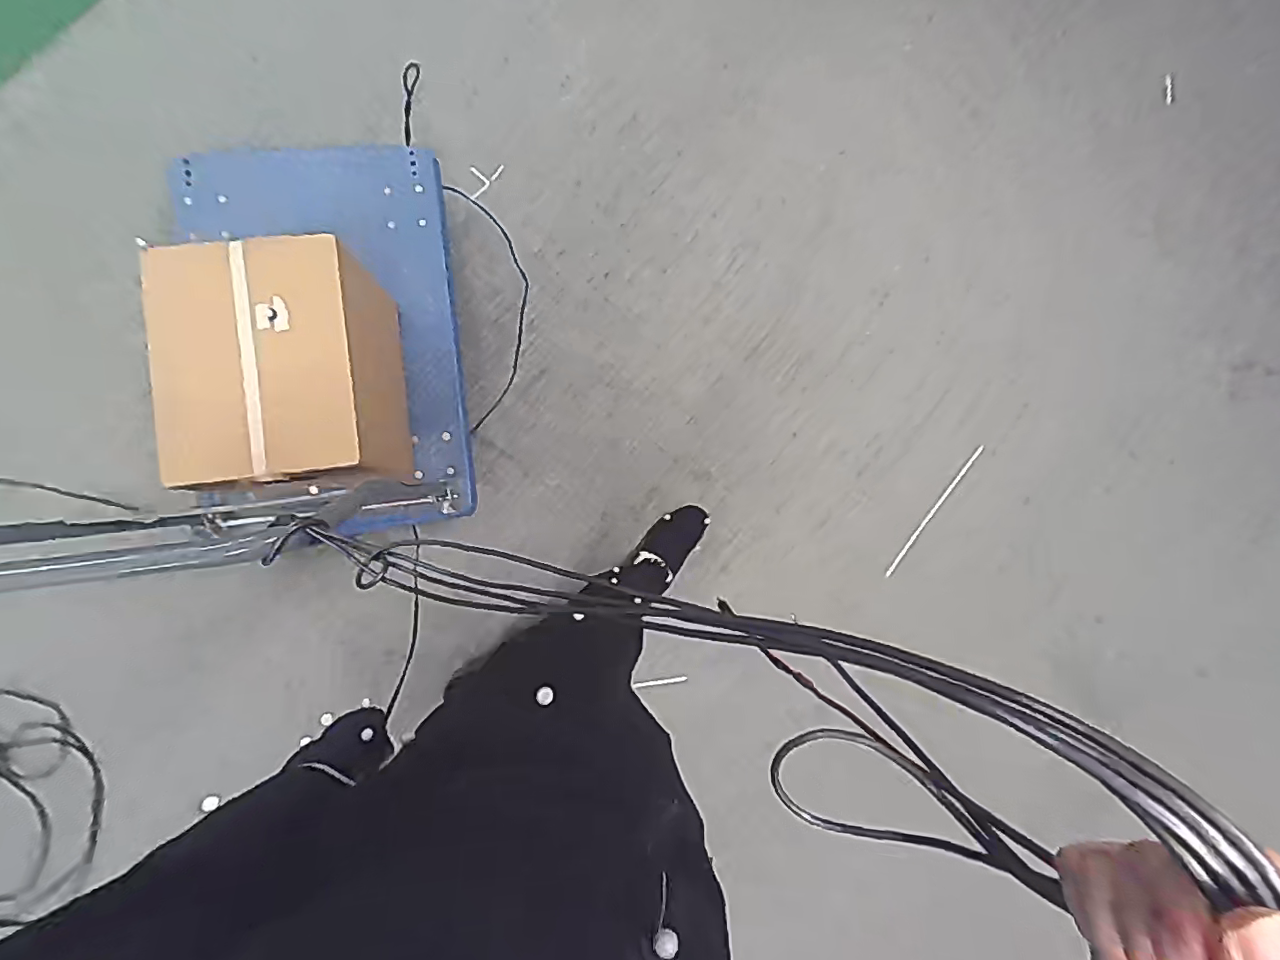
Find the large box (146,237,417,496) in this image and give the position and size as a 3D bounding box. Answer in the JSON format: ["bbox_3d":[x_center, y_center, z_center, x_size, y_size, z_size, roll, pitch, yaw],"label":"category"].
[{"bbox_3d":[-0.660,-0.193,1.055,0.320,0.320,0.408,-7,86,-7],"label":"large box"}]
